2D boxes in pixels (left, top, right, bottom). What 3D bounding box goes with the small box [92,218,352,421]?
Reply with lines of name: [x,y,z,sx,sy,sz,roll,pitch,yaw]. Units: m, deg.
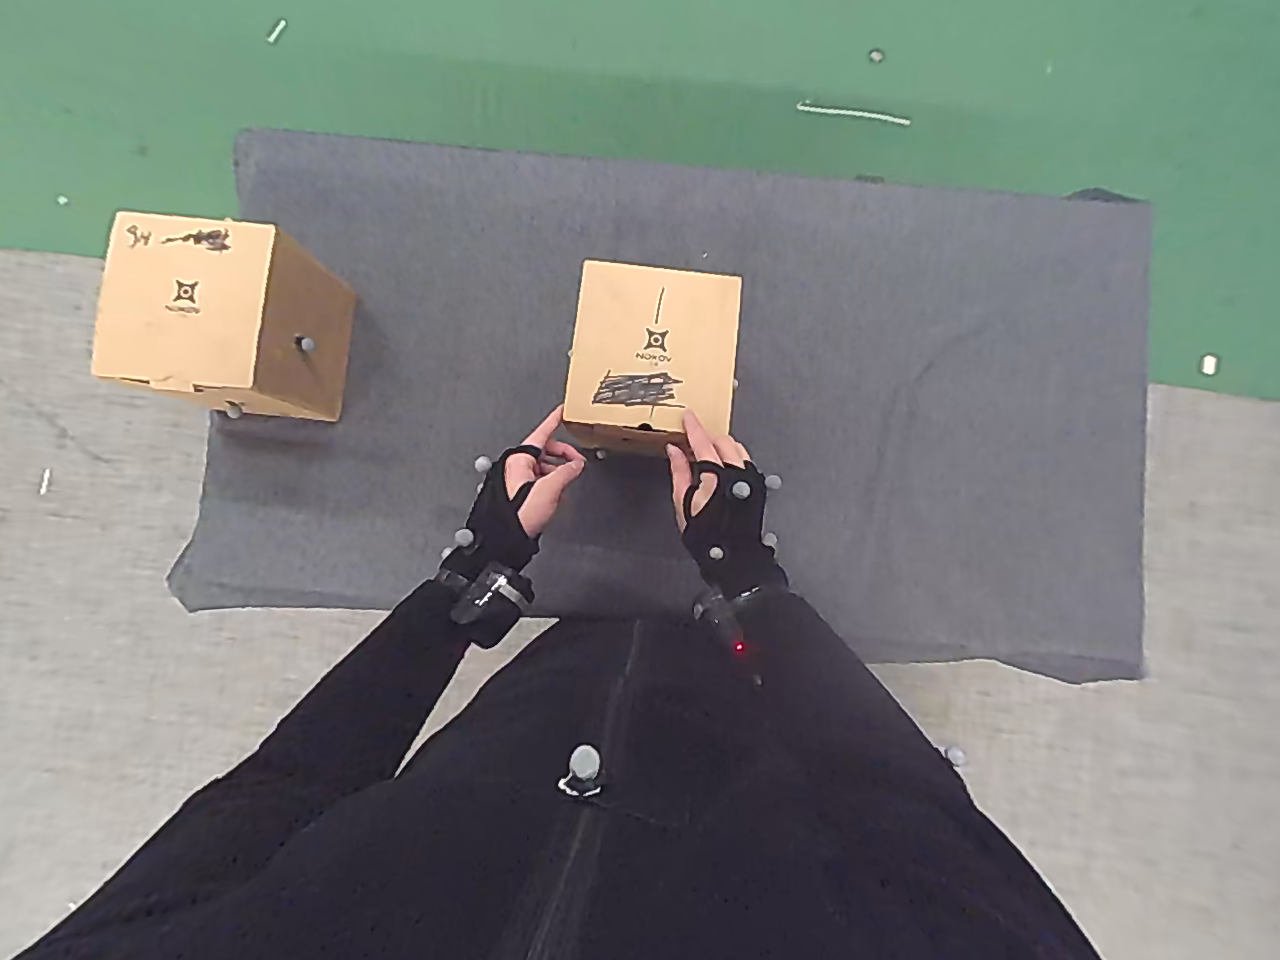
small box: [-0.459,-0.169,0.624,0.168,0.176,0.179,5,87,-1]

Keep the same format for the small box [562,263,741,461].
small box: [0.013,-0.121,0.623,0.168,0.176,0.179,6,85,0]
